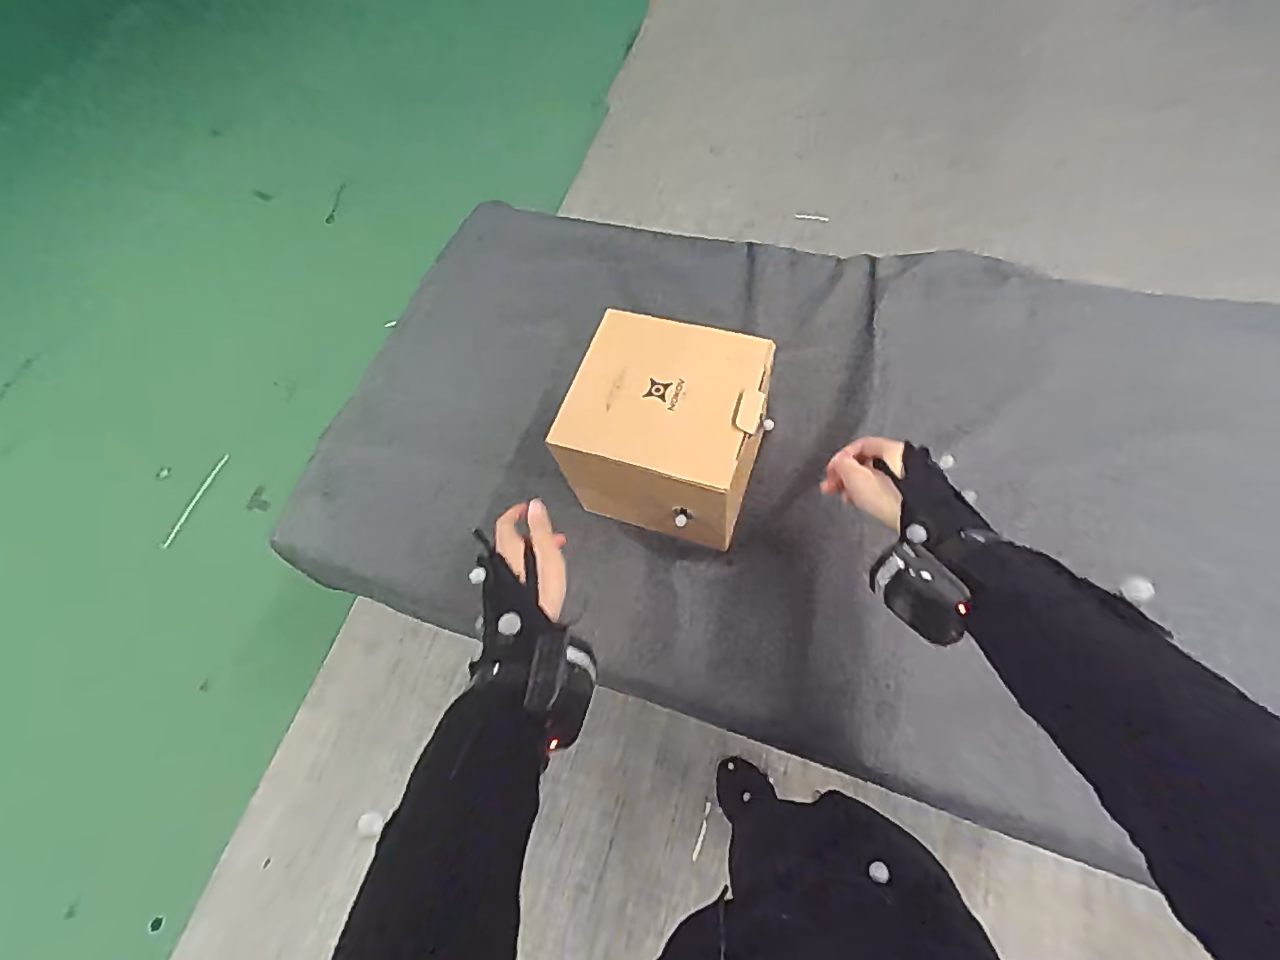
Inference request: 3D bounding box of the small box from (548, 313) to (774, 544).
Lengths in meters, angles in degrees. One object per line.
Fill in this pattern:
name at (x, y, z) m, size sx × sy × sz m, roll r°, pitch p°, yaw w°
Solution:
small box at (0.031, -0.046, 0.577) m, size 0.179 × 0.176 × 0.168 m, roll 14°, pitch 66°, yaw 15°
